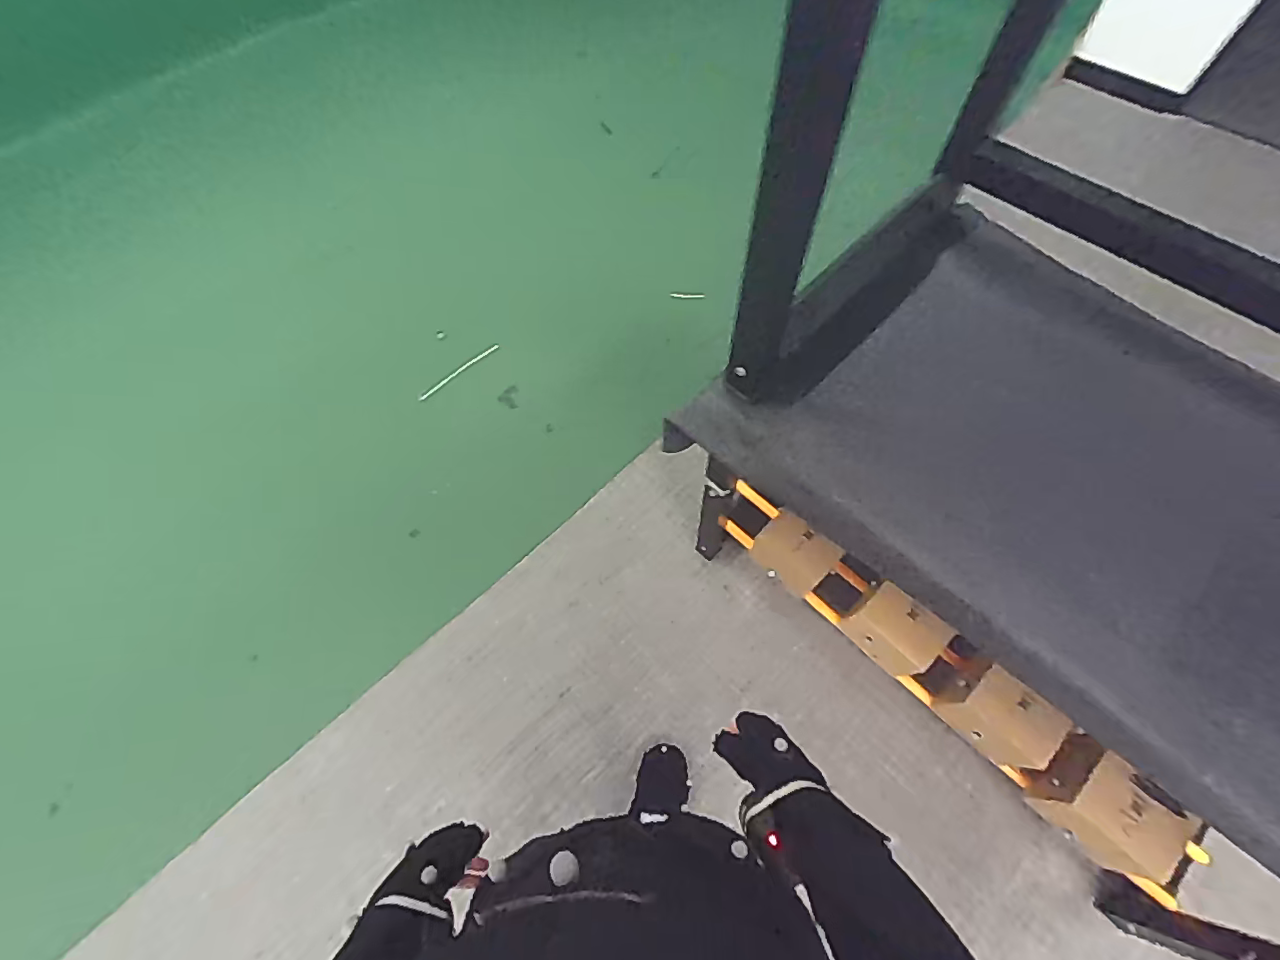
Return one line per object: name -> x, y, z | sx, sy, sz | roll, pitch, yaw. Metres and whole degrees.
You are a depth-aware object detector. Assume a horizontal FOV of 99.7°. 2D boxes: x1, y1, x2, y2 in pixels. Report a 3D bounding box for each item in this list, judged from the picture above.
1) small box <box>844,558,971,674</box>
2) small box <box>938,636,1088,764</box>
small box -> 0.579, 0.309, 1.202 | 0.179, 0.176, 0.168 | -42, 70, -16
small box -> 0.755, 0.458, 1.119 | 0.168, 0.176, 0.179 | 41, 73, 21
